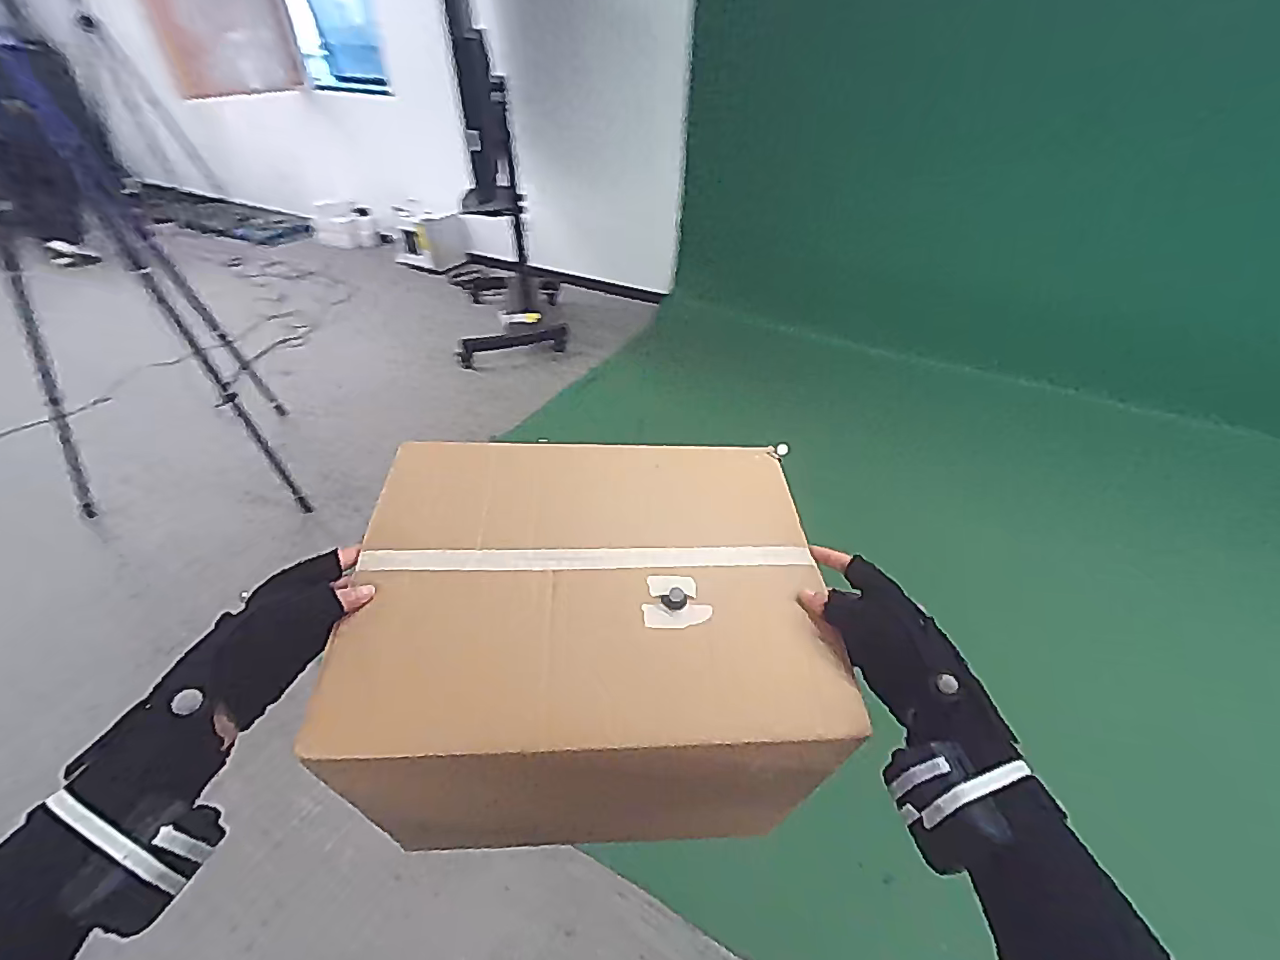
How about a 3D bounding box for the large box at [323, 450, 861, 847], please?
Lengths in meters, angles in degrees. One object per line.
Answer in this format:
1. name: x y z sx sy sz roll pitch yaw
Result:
1. large box: -0.048 0.184 0.600 0.408 0.320 0.320 2 45 -5
